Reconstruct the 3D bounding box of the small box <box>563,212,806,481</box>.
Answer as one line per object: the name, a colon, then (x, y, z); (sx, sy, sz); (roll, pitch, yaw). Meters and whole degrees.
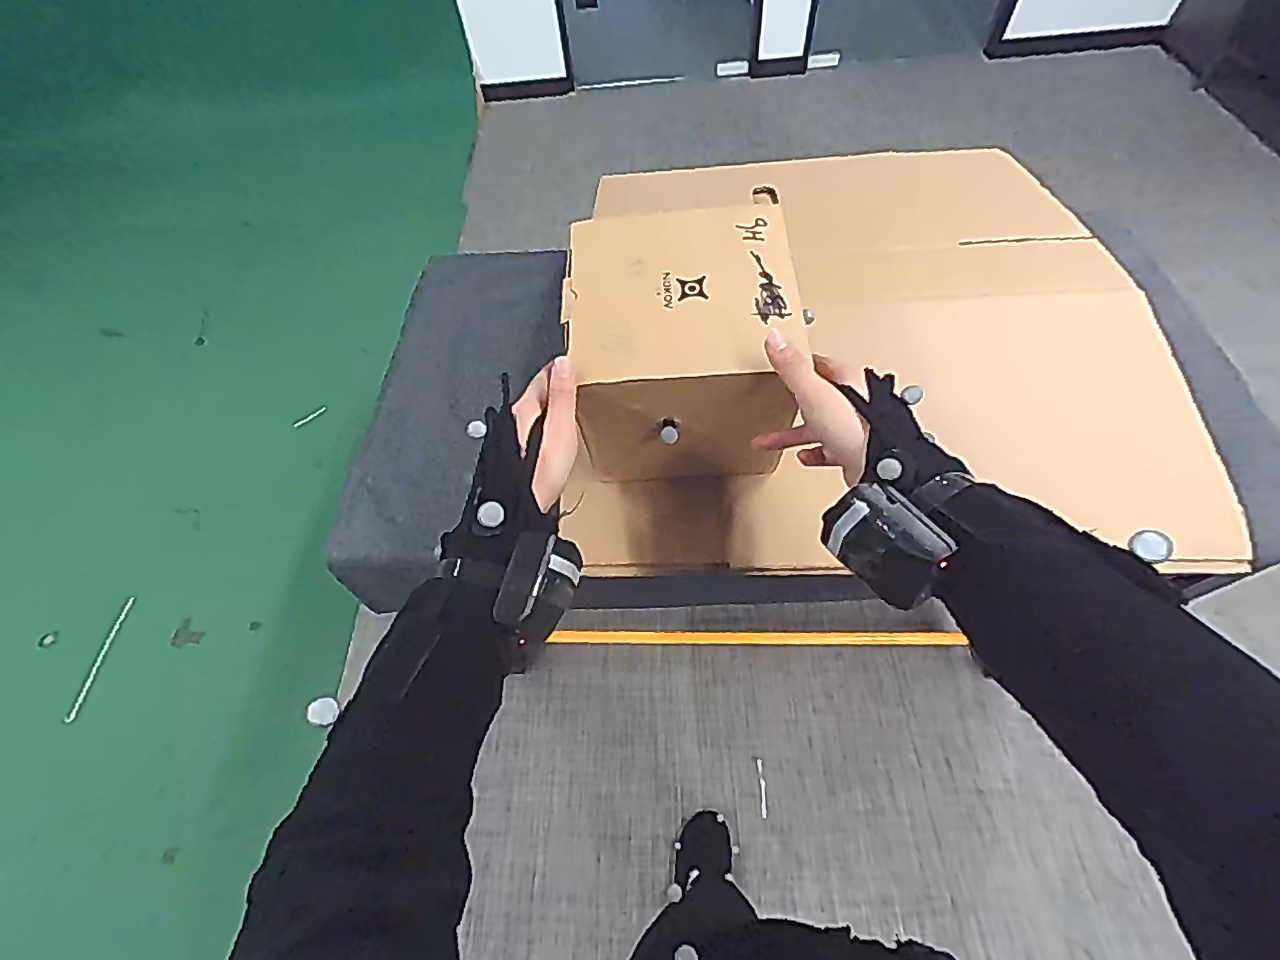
small box: (0.037, -0.107, 0.488); (0.179, 0.176, 0.168); (-3, 65, 4)
